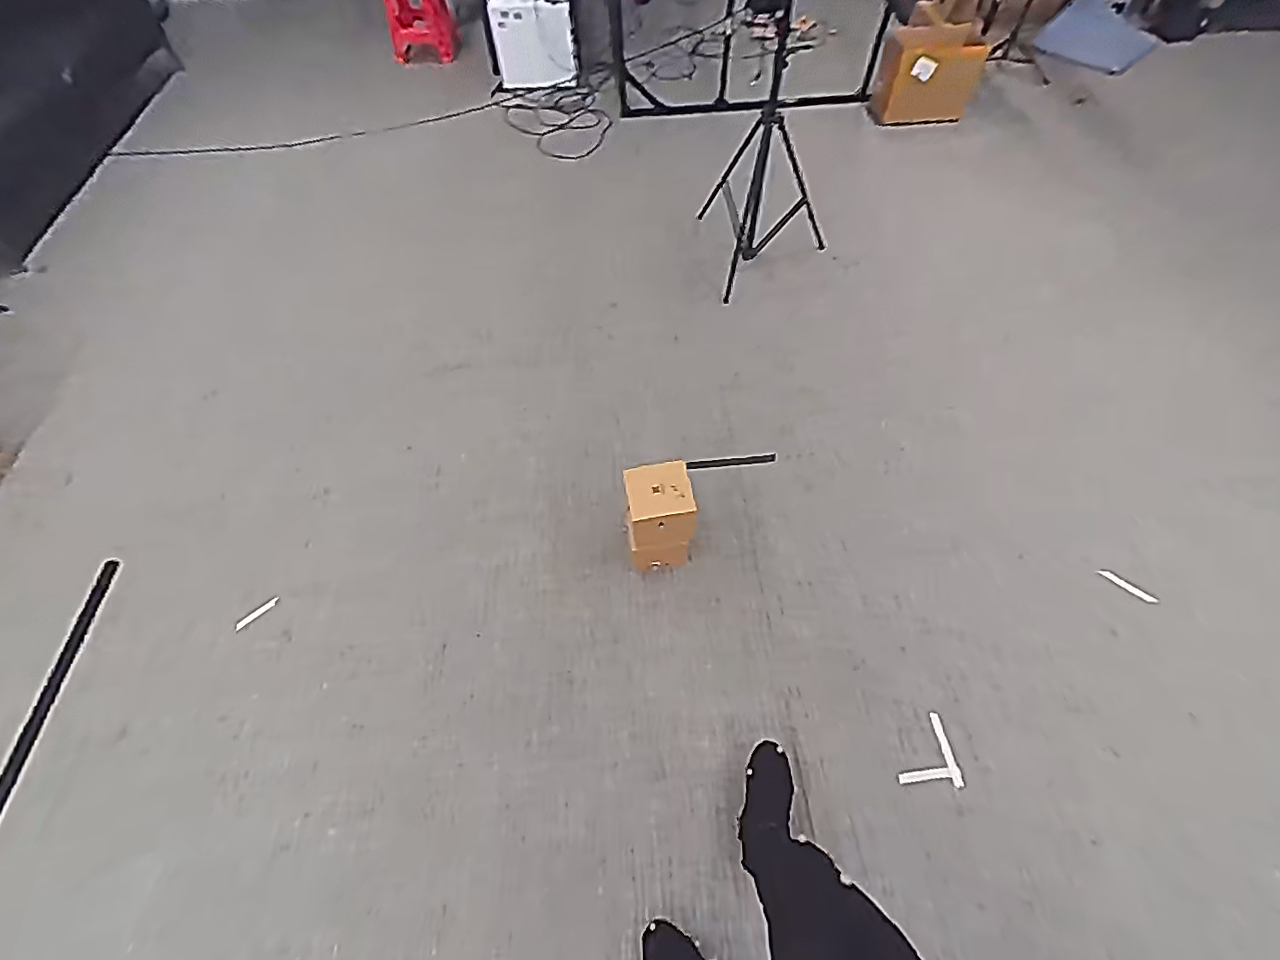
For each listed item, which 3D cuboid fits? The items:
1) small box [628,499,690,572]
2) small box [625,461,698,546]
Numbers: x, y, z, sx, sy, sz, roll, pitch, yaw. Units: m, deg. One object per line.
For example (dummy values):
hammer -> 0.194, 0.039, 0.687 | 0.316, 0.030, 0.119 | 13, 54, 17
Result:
small box -> 0.055, 0.161, 1.649 | 0.168, 0.176, 0.179 | -8, 59, -2
small box -> 0.061, 0.070, 1.511 | 0.179, 0.176, 0.168 | -9, 58, -2
